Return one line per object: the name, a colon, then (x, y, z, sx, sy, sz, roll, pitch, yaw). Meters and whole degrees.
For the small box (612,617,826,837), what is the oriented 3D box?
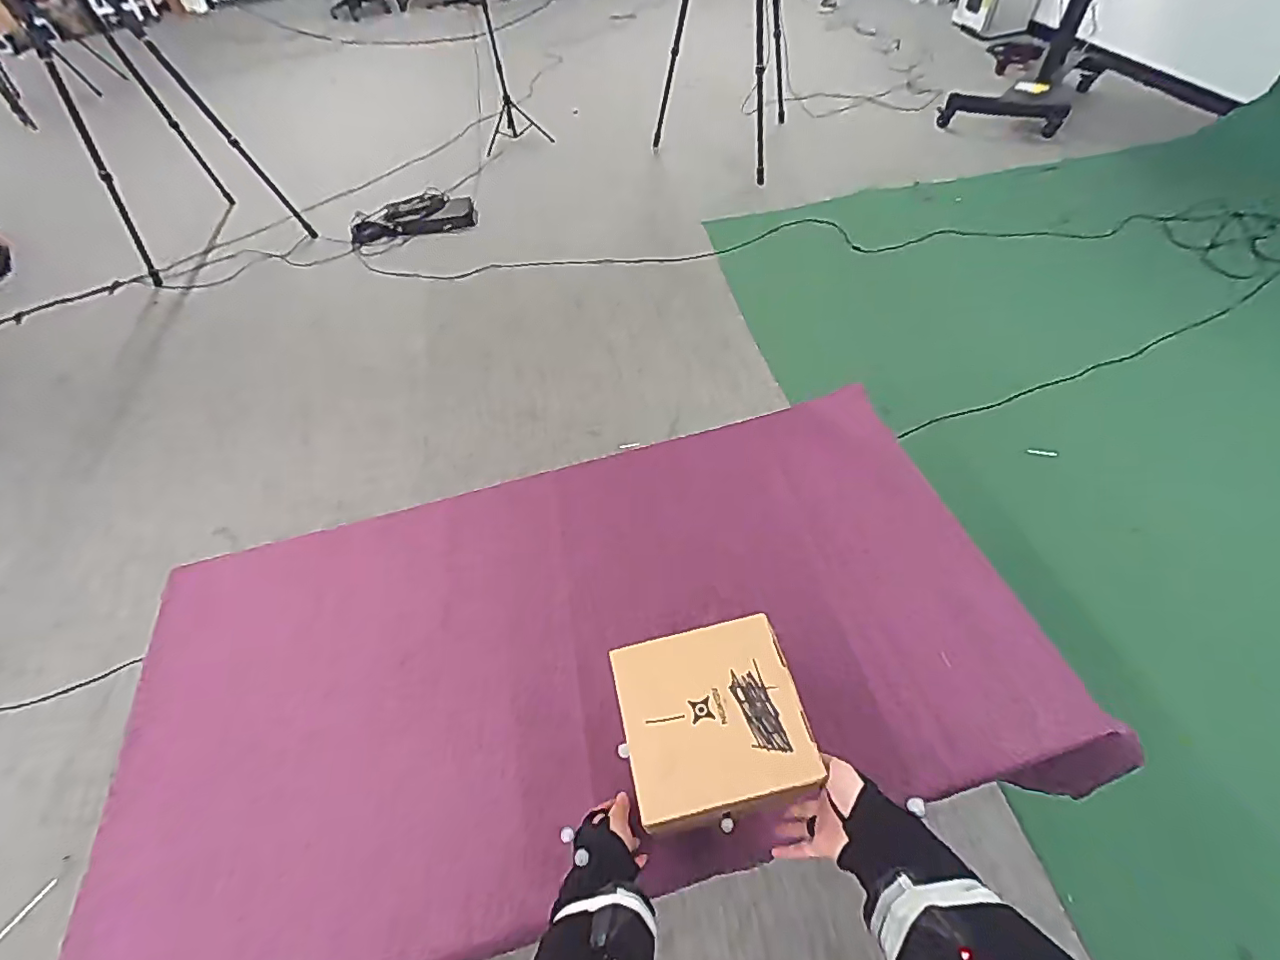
small box: (0.076, 0.274, 0.594, 0.179, 0.176, 0.168, -13, 53, -3)
